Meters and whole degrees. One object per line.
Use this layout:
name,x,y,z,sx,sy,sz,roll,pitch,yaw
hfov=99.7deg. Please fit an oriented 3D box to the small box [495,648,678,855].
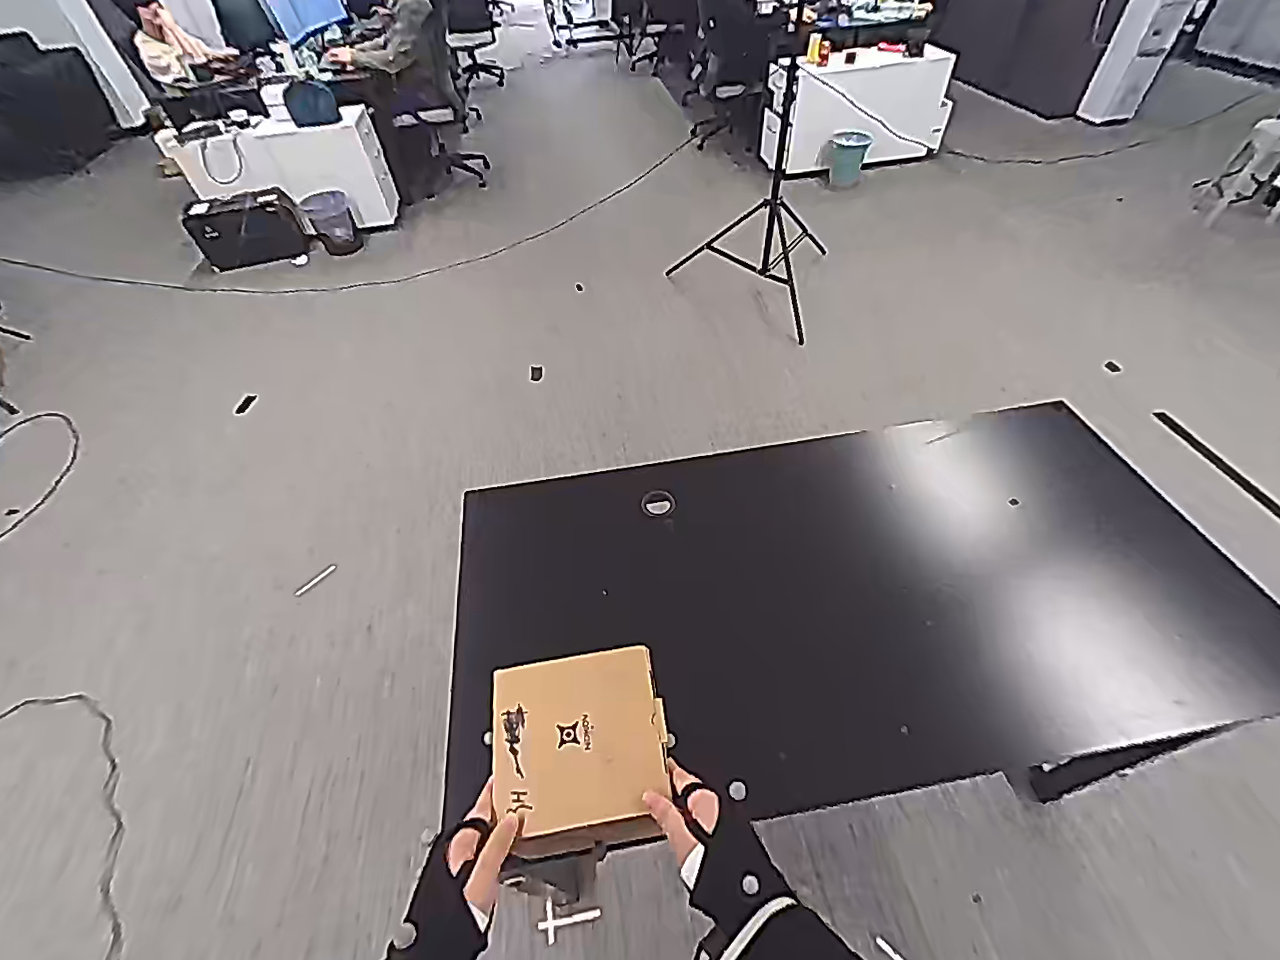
small box,-0.059,0.312,0.618,0.179,0.176,0.168,-7,50,-4
